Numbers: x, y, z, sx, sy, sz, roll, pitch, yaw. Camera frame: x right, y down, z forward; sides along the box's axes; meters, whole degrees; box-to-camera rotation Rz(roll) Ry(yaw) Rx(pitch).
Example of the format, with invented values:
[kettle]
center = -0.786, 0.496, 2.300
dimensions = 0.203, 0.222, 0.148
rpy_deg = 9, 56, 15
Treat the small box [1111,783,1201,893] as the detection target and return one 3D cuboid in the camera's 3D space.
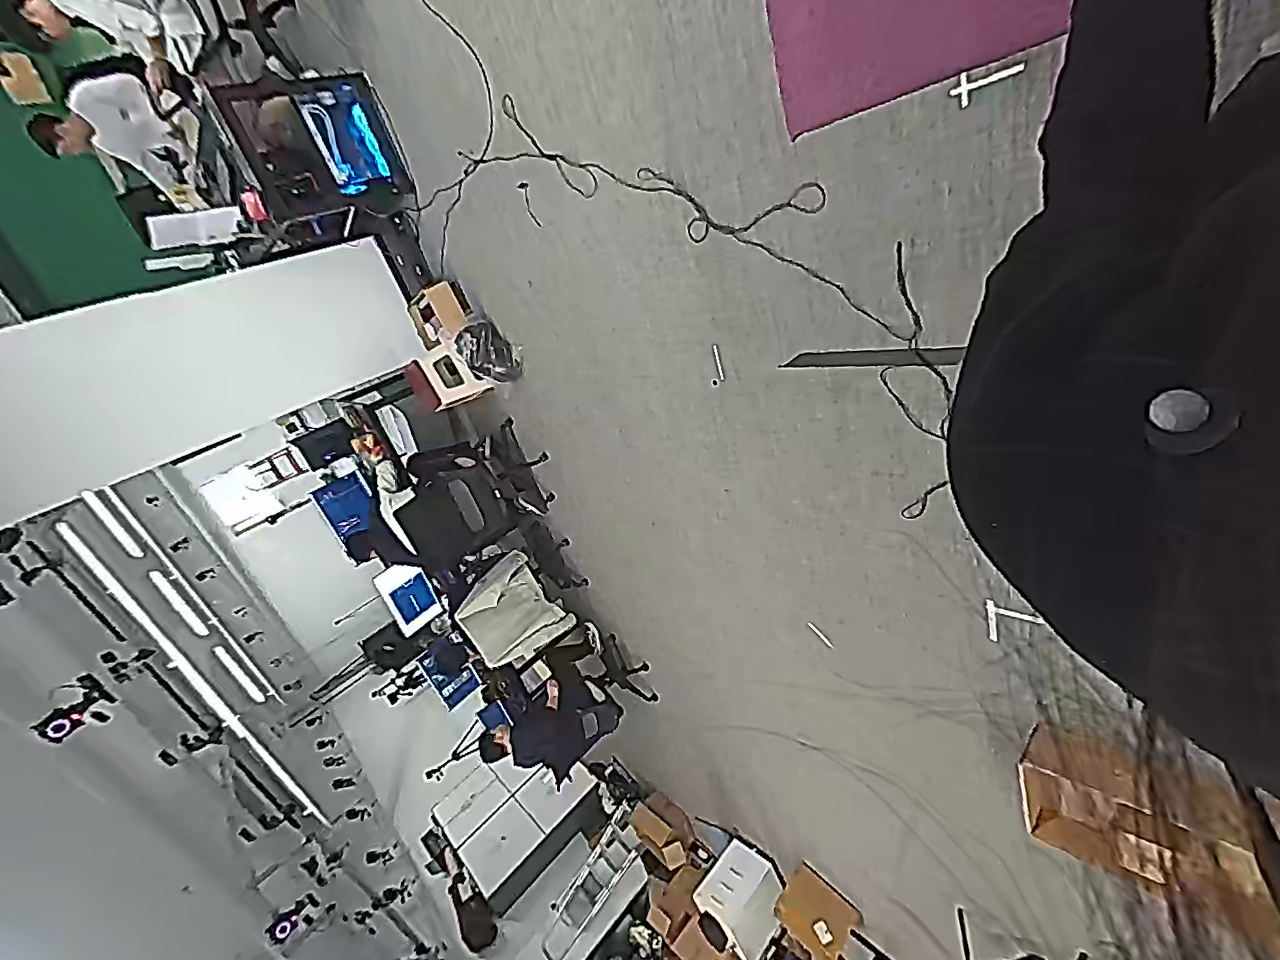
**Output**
[small box]
center = 1.530, 1.049, 1.600
dimensions = 0.168, 0.176, 0.179
rpy_deg = -1, 118, 52
